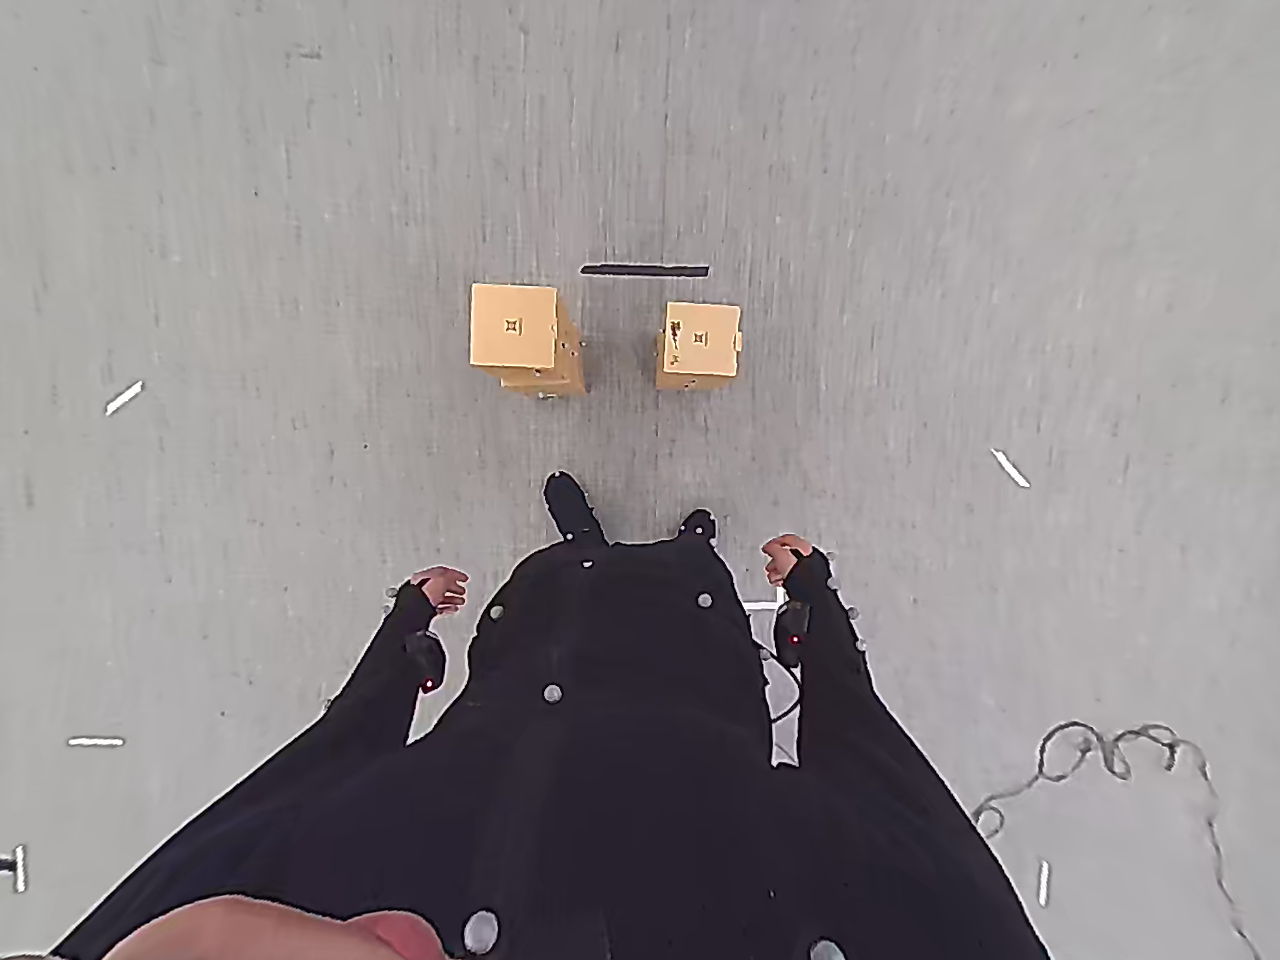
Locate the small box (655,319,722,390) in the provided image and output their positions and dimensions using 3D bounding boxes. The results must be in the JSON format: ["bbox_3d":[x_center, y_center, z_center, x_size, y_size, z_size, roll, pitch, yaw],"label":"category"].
[{"bbox_3d":[0.135,-0.346,1.513,0.179,0.176,0.168,3,94,-3],"label":"small box"}]

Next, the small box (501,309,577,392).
[{"bbox_3d":[-0.248,-0.317,1.339,0.168,0.176,0.179,-3,94,-1],"label":"small box"}]

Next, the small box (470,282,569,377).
[{"bbox_3d":[-0.255,-0.319,1.176,0.179,0.176,0.168,2,93,-1],"label":"small box"}]

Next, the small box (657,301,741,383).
[{"bbox_3d":[0.141,-0.337,1.349,0.179,0.176,0.168,4,93,-3],"label":"small box"}]

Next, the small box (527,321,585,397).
[{"bbox_3d":[-0.246,-0.331,1.502,0.168,0.176,0.179,-4,94,-1],"label":"small box"}]
